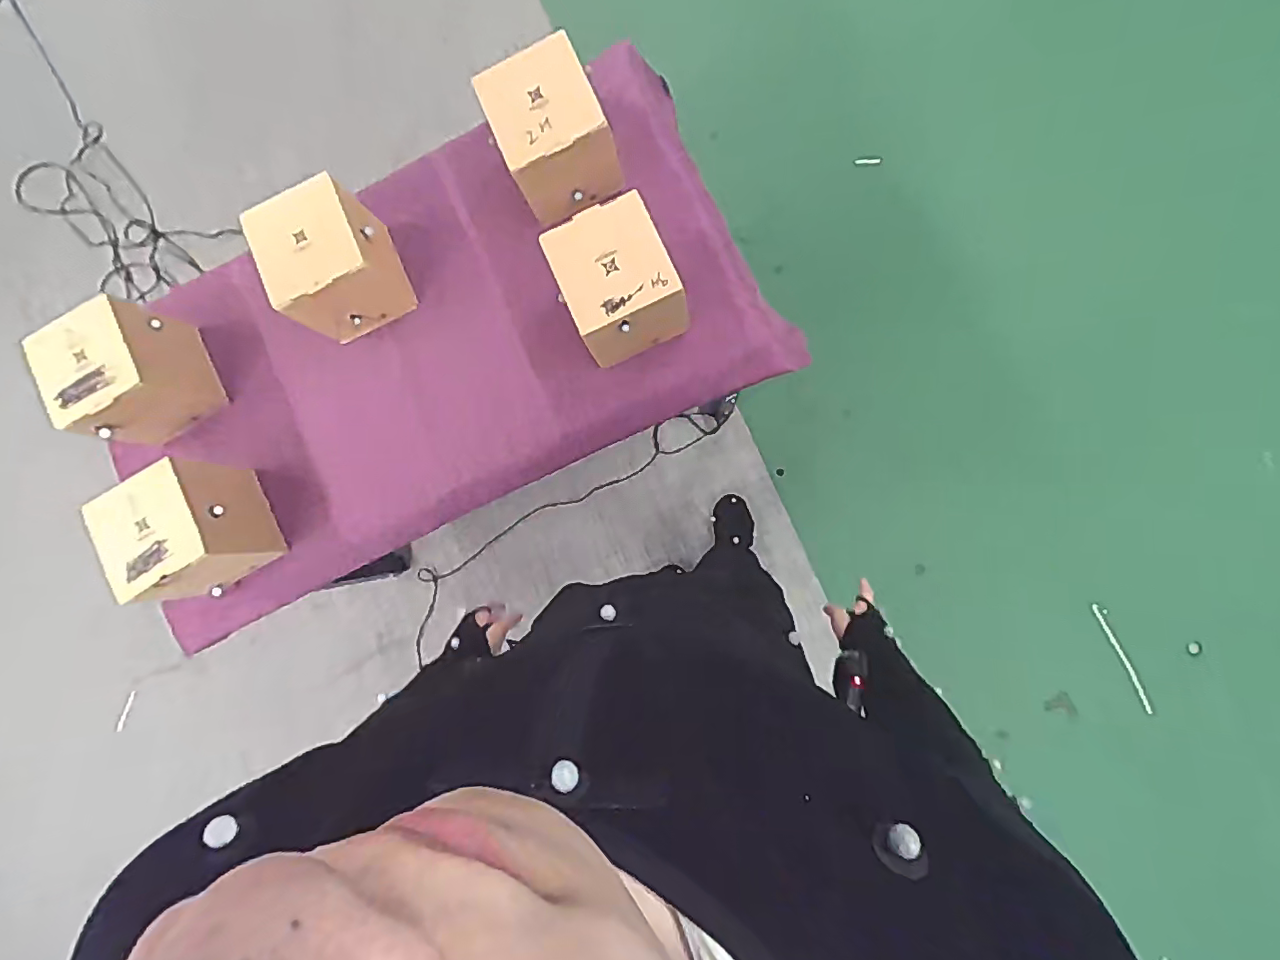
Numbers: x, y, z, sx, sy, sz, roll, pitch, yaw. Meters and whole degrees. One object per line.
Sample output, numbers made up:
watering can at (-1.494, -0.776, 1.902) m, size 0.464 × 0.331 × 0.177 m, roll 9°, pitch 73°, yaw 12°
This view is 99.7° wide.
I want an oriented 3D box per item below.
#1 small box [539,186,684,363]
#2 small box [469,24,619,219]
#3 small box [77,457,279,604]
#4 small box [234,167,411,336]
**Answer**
small box at (-0.037, -0.316, 0.866) m, size 0.168 × 0.176 × 0.179 m, roll -24°, pitch 82°, yaw 4°
small box at (-0.149, -0.577, 0.894) m, size 0.168 × 0.176 × 0.179 m, roll -24°, pitch 85°, yaw 6°
small box at (-0.755, 0.083, 0.904) m, size 0.168 × 0.176 × 0.179 m, roll -30°, pitch 82°, yaw 2°
small box at (-0.526, -0.375, 0.919) m, size 0.168 × 0.176 × 0.179 m, roll -25°, pitch 85°, yaw 3°
